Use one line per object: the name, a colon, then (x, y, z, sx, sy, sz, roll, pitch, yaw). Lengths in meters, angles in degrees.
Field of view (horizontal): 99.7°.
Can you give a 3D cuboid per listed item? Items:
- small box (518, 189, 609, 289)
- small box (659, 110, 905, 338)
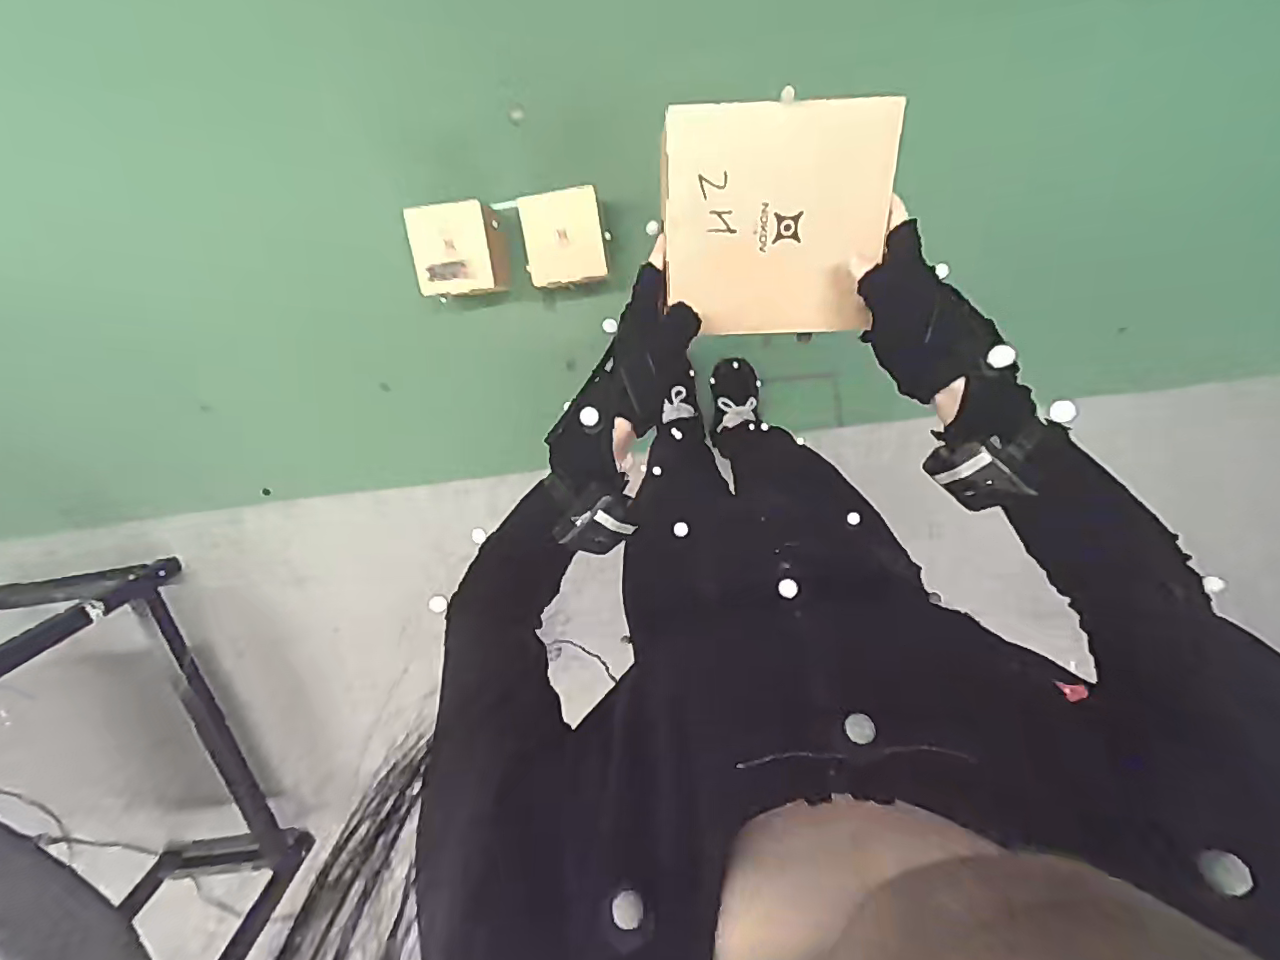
small box: (-0.166, -0.537, 1.224, 0.168, 0.176, 0.179, -8, 109, 3)
small box: (0.108, -0.229, 0.497, 0.179, 0.176, 0.168, 0, 115, 1)
